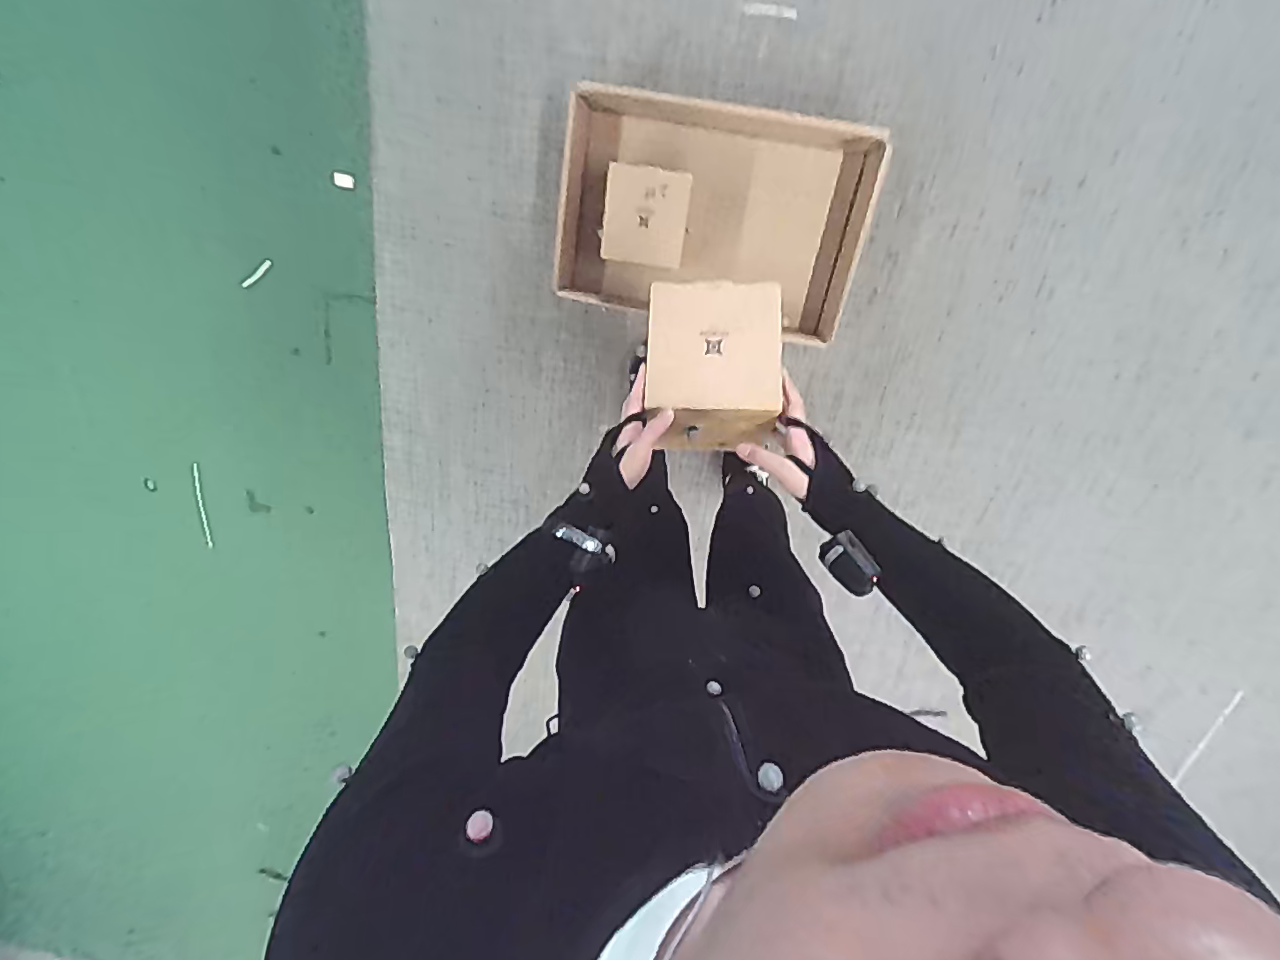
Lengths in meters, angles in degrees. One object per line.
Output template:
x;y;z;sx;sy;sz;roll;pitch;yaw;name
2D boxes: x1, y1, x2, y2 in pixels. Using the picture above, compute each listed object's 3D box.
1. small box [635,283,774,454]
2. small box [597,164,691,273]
0.086;-0.140;0.728;0.168;0.176;0.179;1;74;5;small box
0.014;-0.545;1.142;0.168;0.176;0.179;10;113;3;small box
